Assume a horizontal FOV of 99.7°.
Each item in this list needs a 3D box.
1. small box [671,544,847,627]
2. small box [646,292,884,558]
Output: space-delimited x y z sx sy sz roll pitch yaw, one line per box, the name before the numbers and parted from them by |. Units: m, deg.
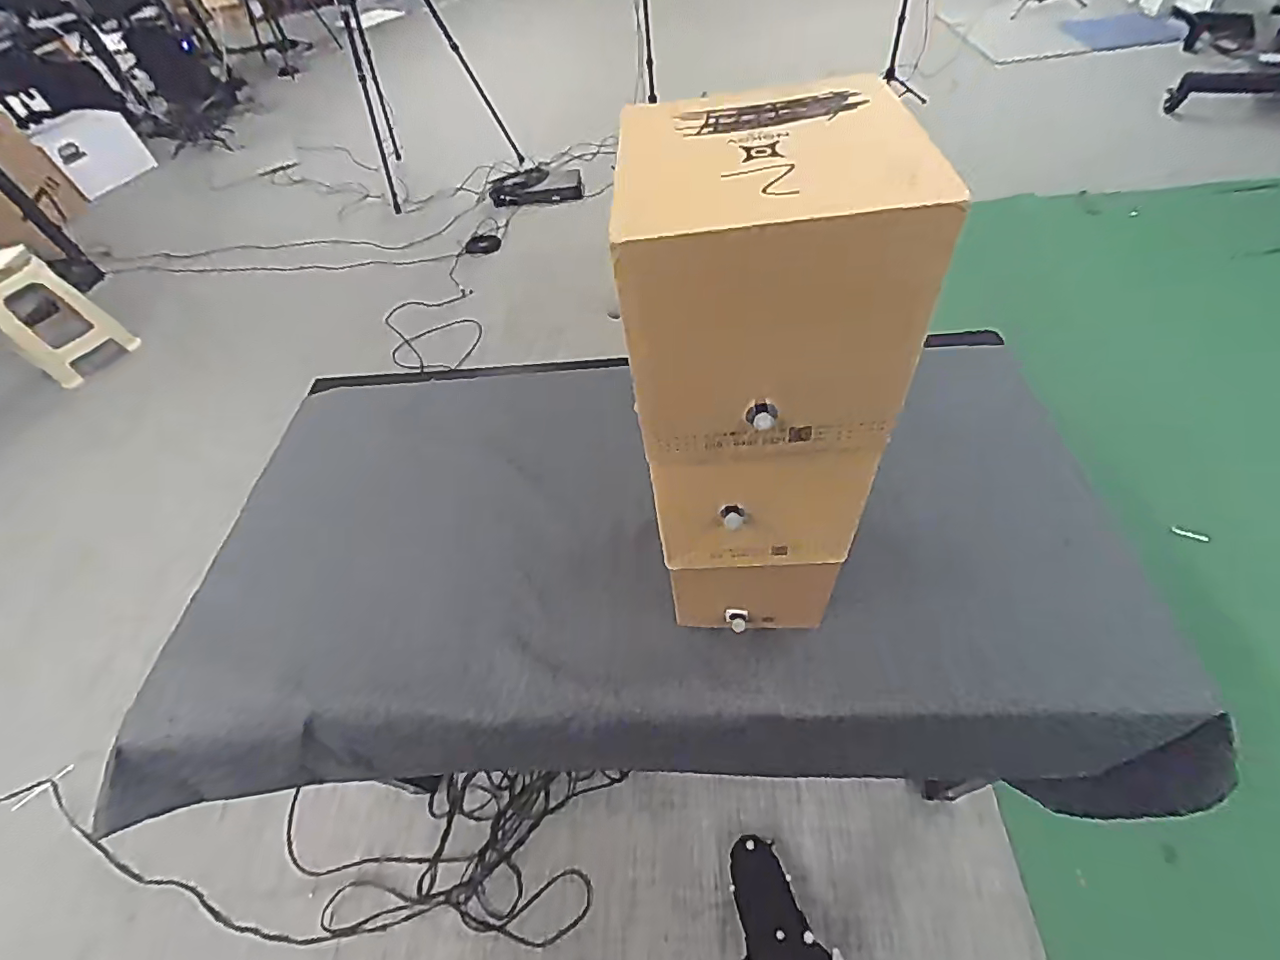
small box | 0.123 0.052 0.617 0.168 0.176 0.179 -3 53 8
small box | 0.100 -0.039 0.485 0.168 0.176 0.179 -3 51 7
